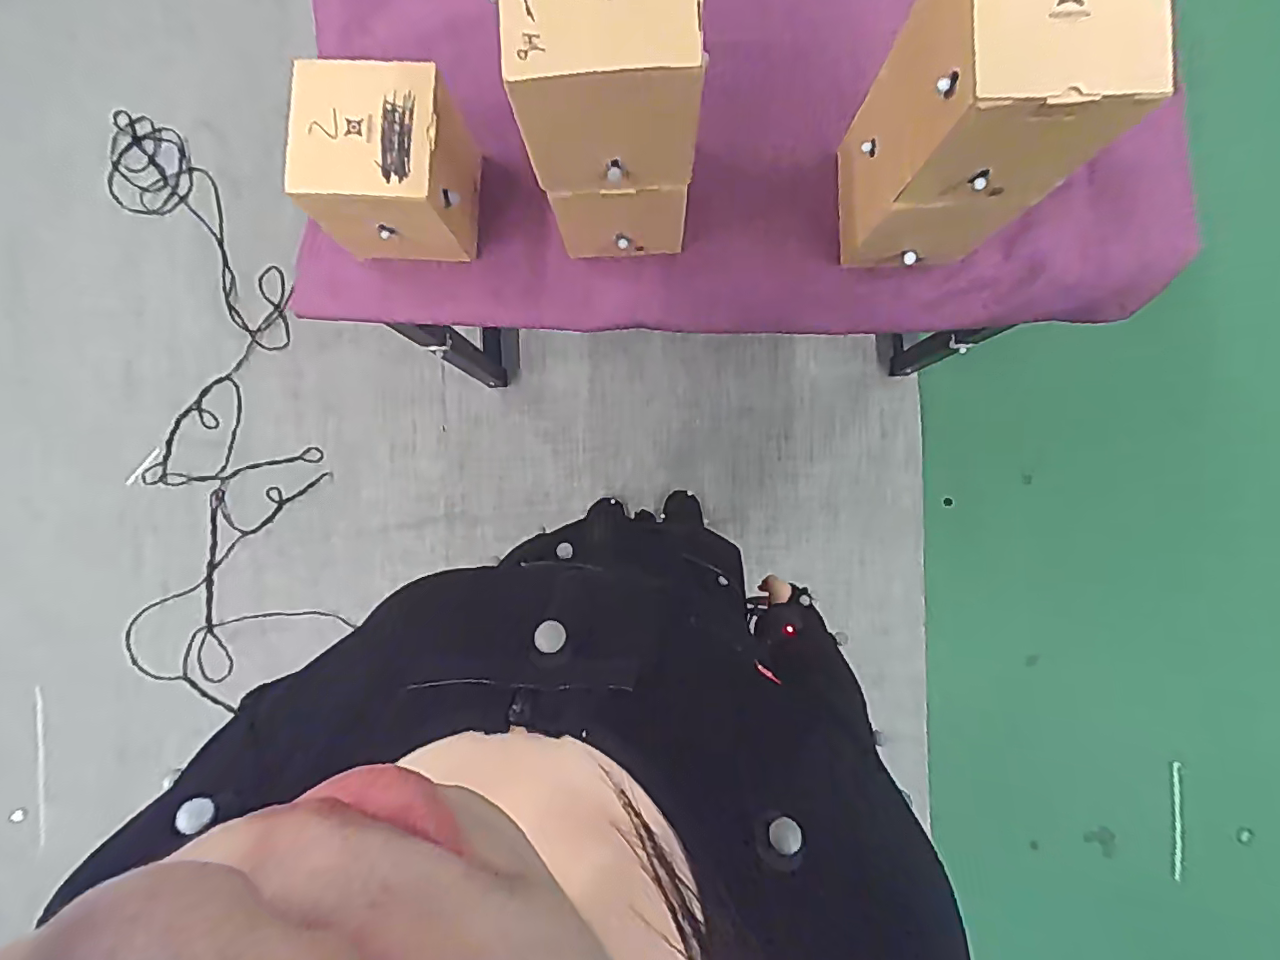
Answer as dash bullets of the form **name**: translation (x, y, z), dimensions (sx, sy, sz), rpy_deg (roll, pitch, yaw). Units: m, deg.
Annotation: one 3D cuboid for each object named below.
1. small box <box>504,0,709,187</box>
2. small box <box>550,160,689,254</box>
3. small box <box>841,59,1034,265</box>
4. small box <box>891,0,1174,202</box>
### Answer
- **small box**: translation (-0.031, -0.423, 0.544), dimensions (0.179, 0.176, 0.168), rpy_deg (-3, 87, 1)
- **small box**: translation (-0.026, -0.420, 0.708), dimensions (0.168, 0.176, 0.179), rpy_deg (-3, 88, 2)
- **small box**: translation (0.369, -0.399, 0.699), dimensions (0.168, 0.176, 0.179), rpy_deg (-1, 89, 2)
- **small box**: translation (0.366, -0.406, 0.537), dimensions (0.168, 0.176, 0.179), rpy_deg (-2, 89, 2)
